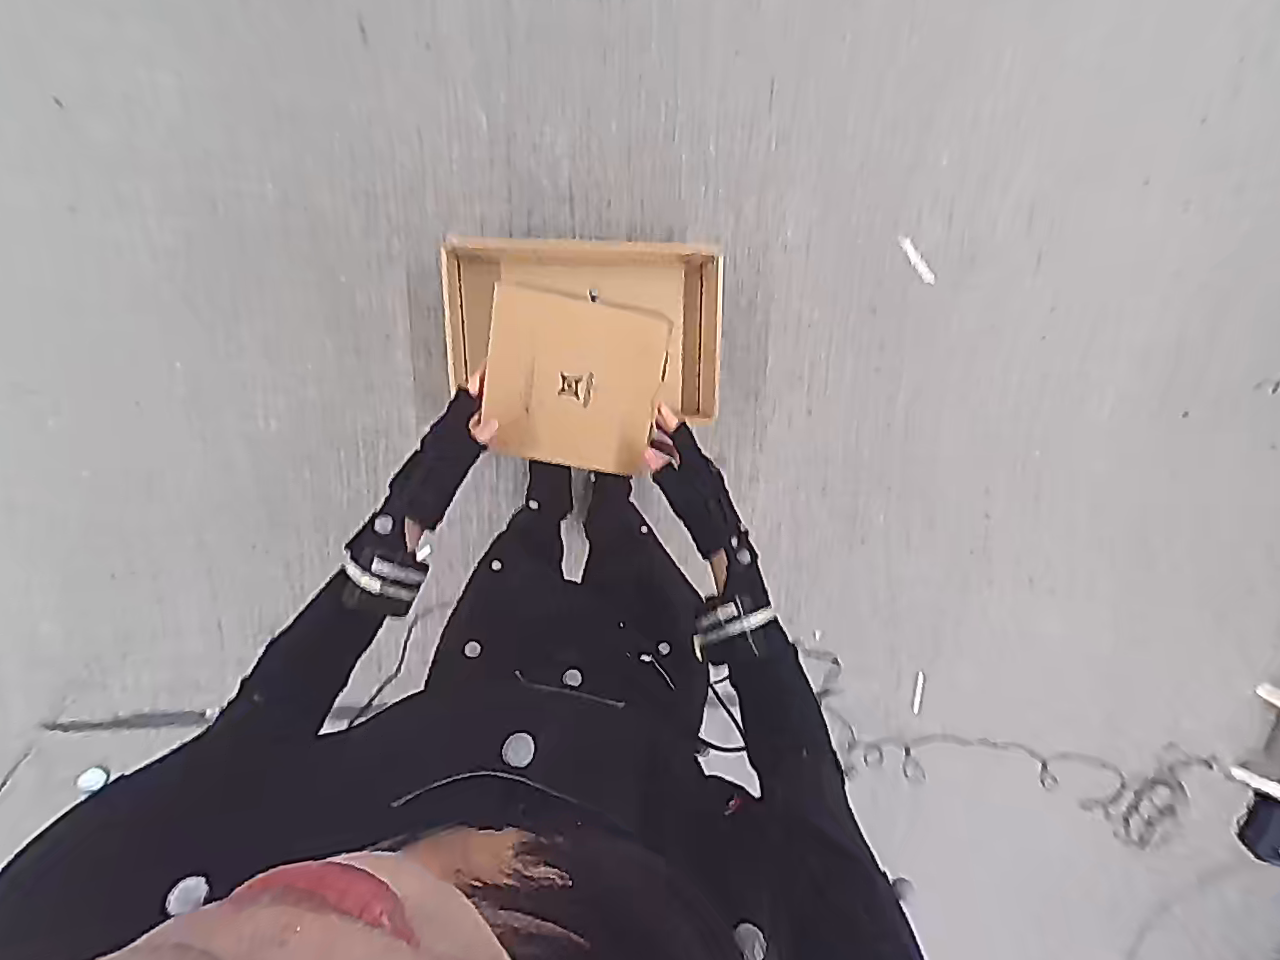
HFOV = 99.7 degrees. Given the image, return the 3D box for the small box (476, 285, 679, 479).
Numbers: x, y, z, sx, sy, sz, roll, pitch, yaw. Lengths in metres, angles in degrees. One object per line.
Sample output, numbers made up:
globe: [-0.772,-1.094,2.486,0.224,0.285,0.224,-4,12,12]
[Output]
small box: [-0.069,-0.116,0.599,0.179,0.176,0.168,9,109,-8]
